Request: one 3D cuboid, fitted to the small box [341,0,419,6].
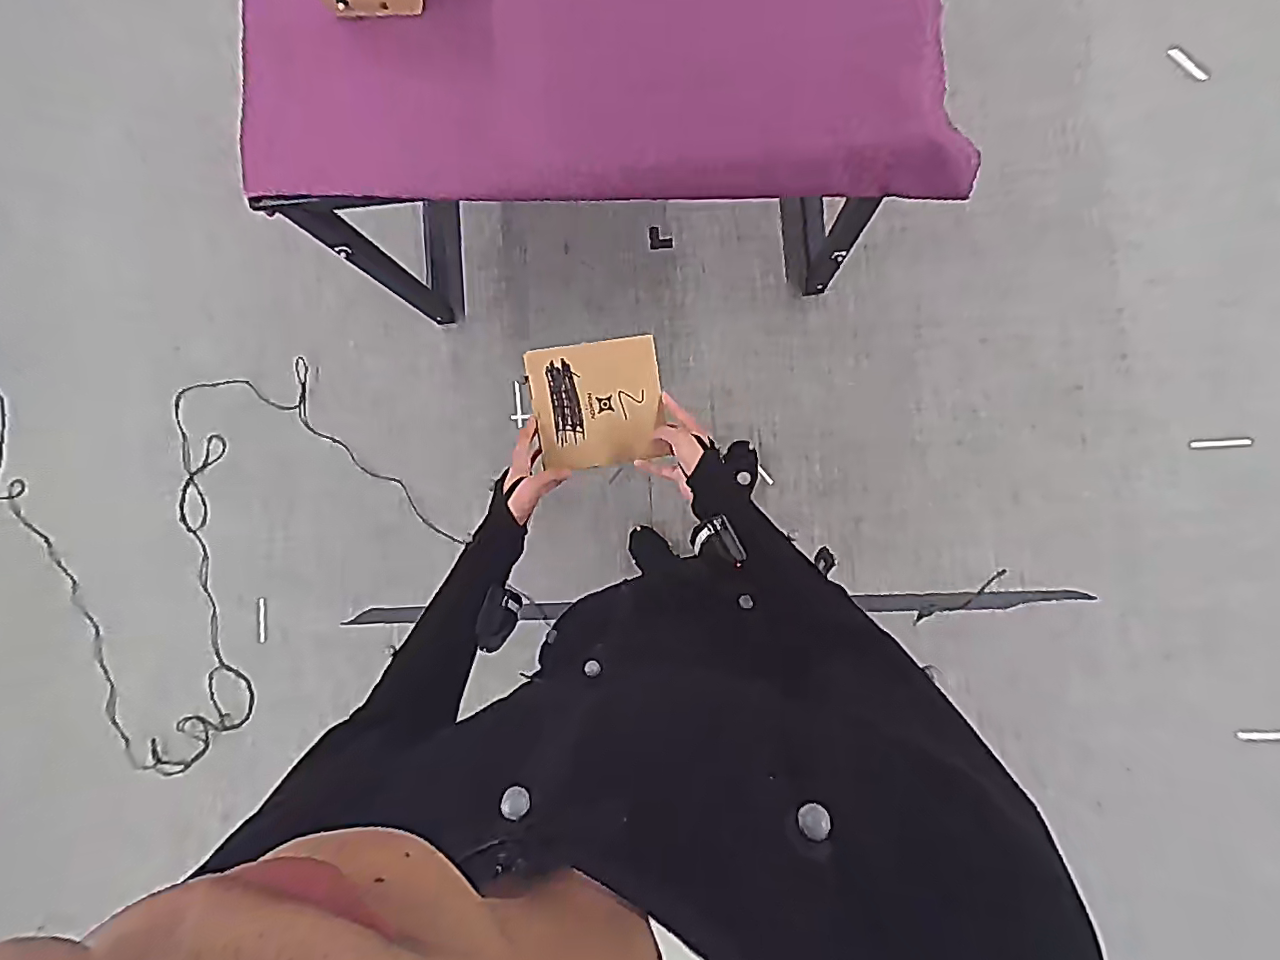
[{"bbox_3d":[-0.467,-0.925,0.883,0.168,0.176,0.179,3,89,4],"label":"small box"}]
